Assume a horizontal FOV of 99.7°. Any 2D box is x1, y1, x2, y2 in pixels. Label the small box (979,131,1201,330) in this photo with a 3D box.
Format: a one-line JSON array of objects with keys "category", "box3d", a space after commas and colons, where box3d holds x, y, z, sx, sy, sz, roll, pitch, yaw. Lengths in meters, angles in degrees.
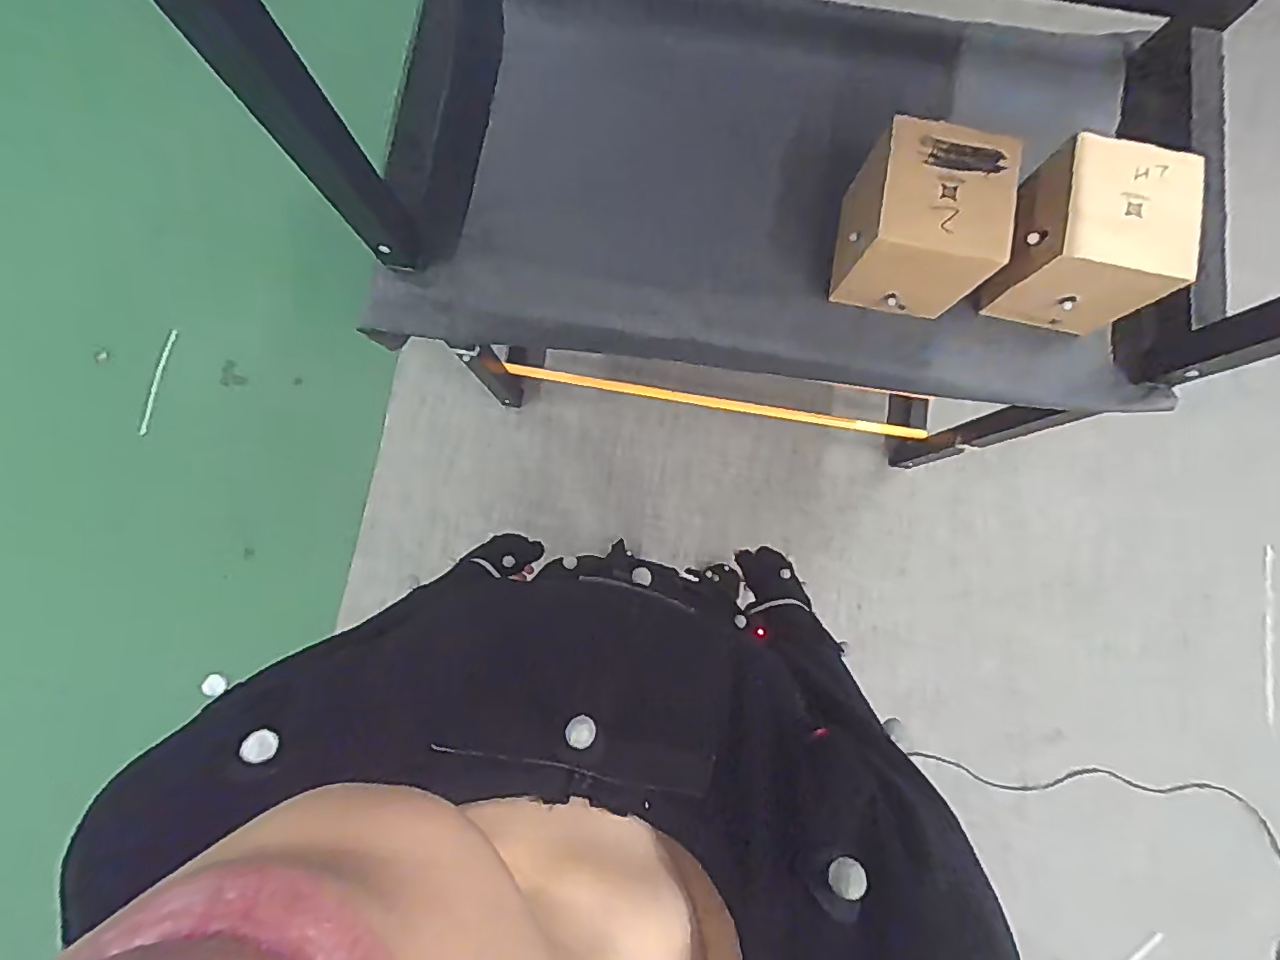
[{"category": "small box", "box3d": [0.608, -0.331, 0.751, 0.168, 0.176, 0.179, 12, 82, 1]}]
